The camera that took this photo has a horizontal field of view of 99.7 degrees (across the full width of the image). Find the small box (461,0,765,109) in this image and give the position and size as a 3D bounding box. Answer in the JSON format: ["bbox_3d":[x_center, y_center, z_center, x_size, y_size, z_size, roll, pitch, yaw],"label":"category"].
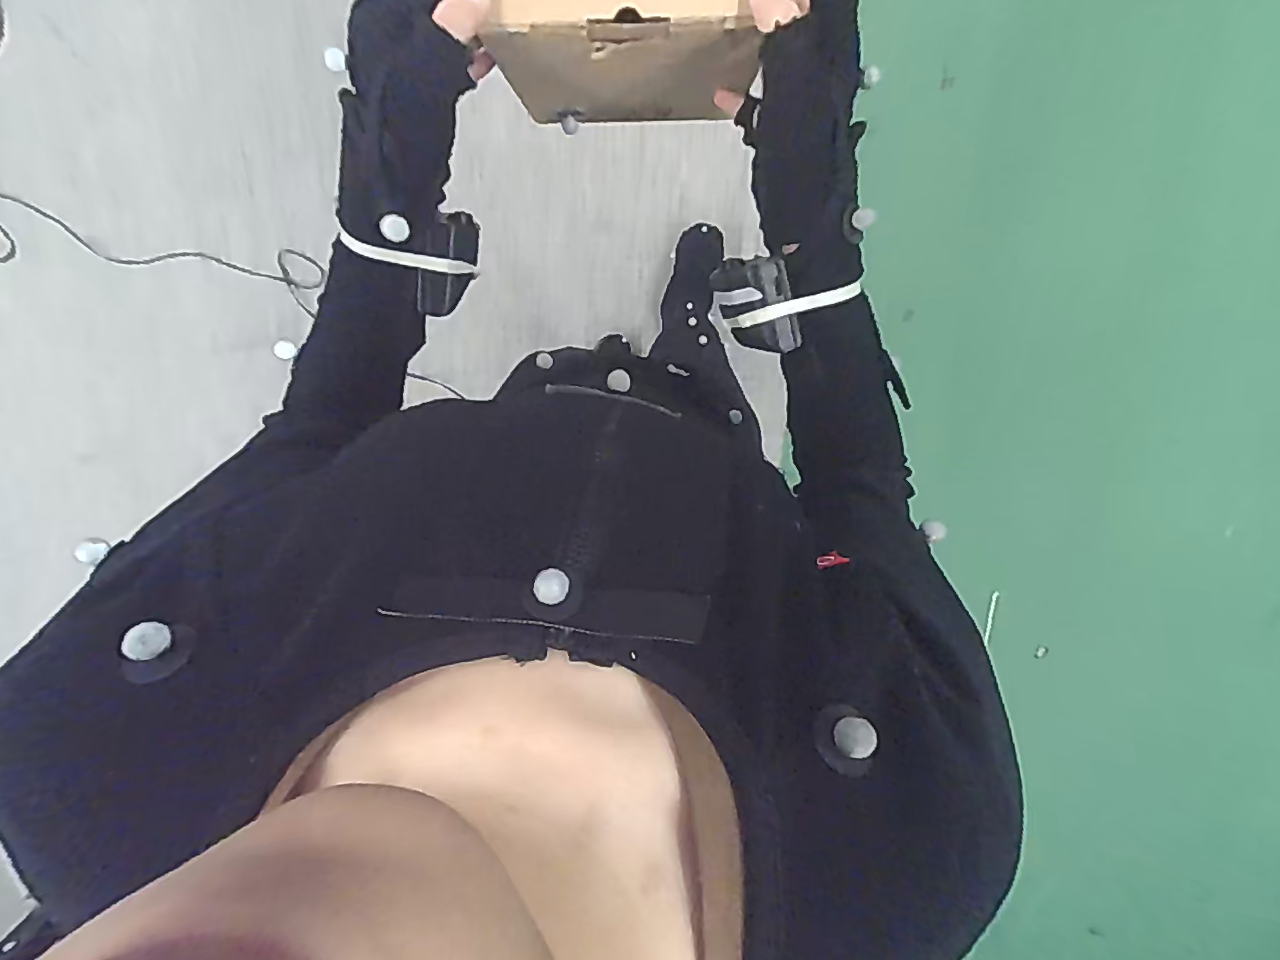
[{"bbox_3d":[-0.011,-0.351,0.333,0.168,0.176,0.179,0,108,1],"label":"small box"}]
